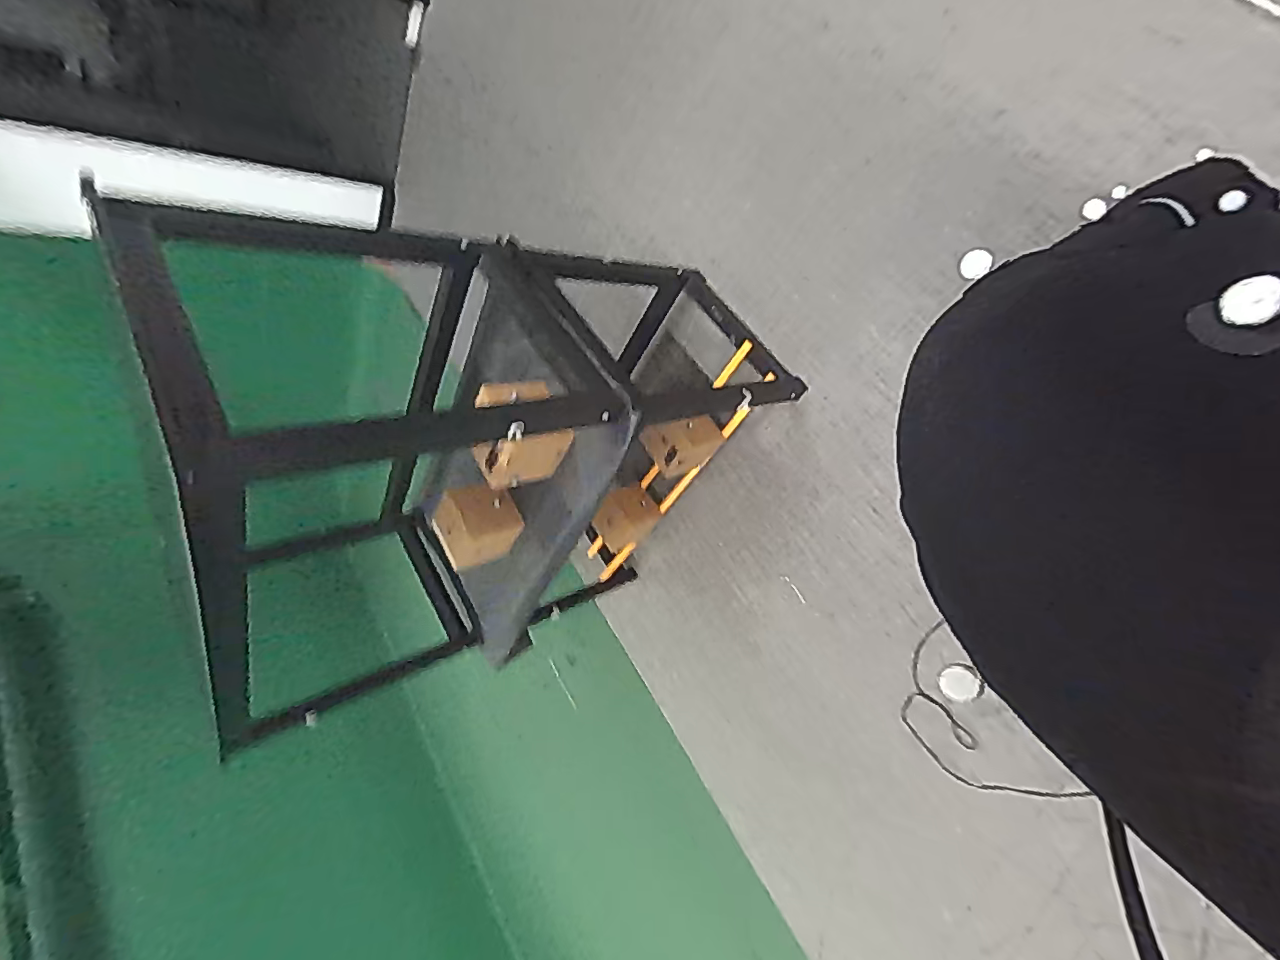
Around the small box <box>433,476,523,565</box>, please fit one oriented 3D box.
[{"bbox_3d":[-0.456,0.112,1.528,0.168,0.176,0.179,57,134,18],"label":"small box"}]

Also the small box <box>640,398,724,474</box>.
[{"bbox_3d":[0.140,-0.148,1.752,0.179,0.176,0.168,57,134,18],"label":"small box"}]
